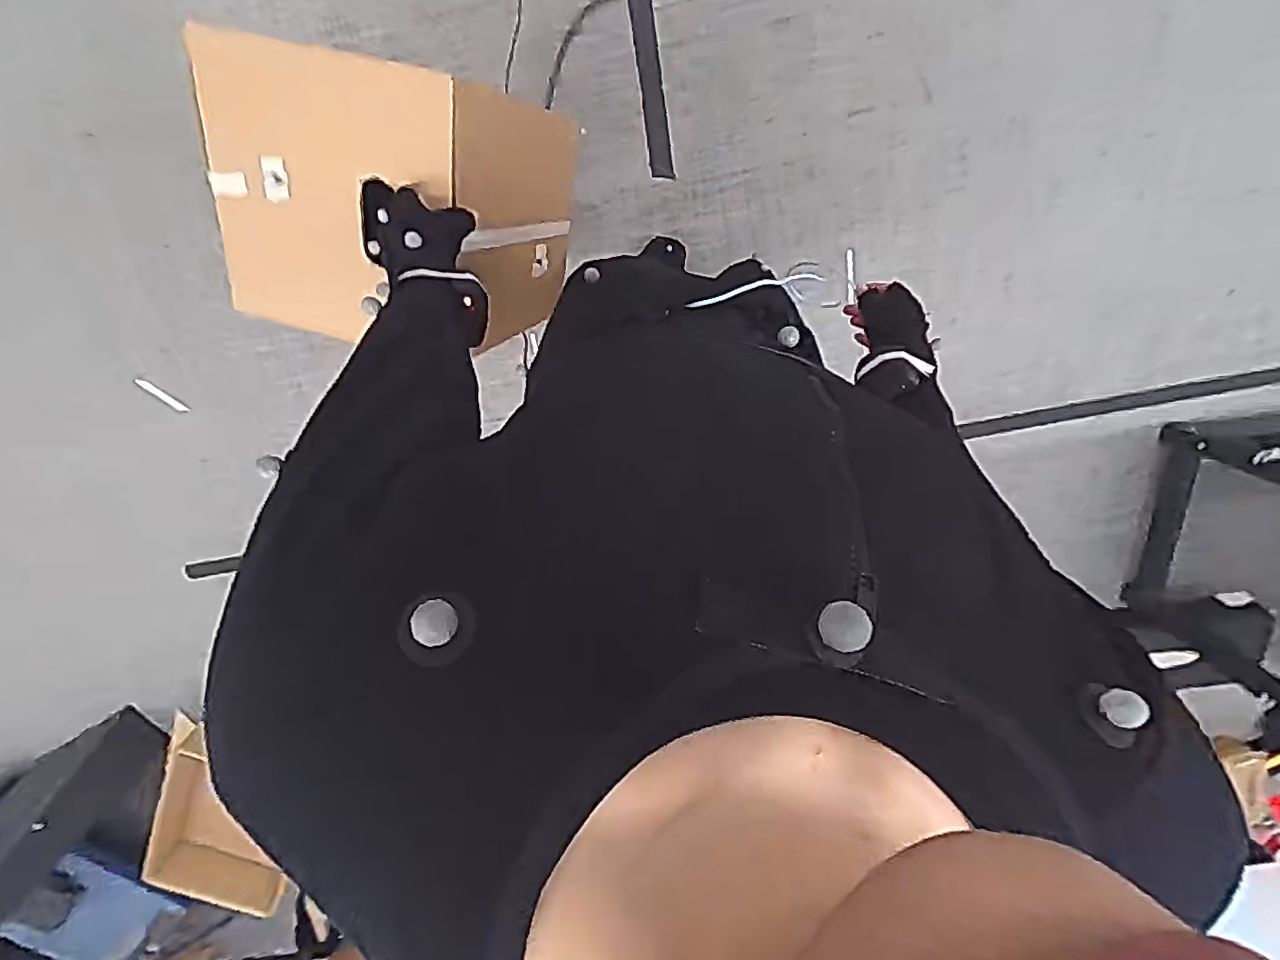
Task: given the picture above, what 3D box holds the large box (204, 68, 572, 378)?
[{"bbox_3d":[-0.321,-0.388,0.819,0.320,0.408,0.320,14,120,5],"label":"large box"}]
